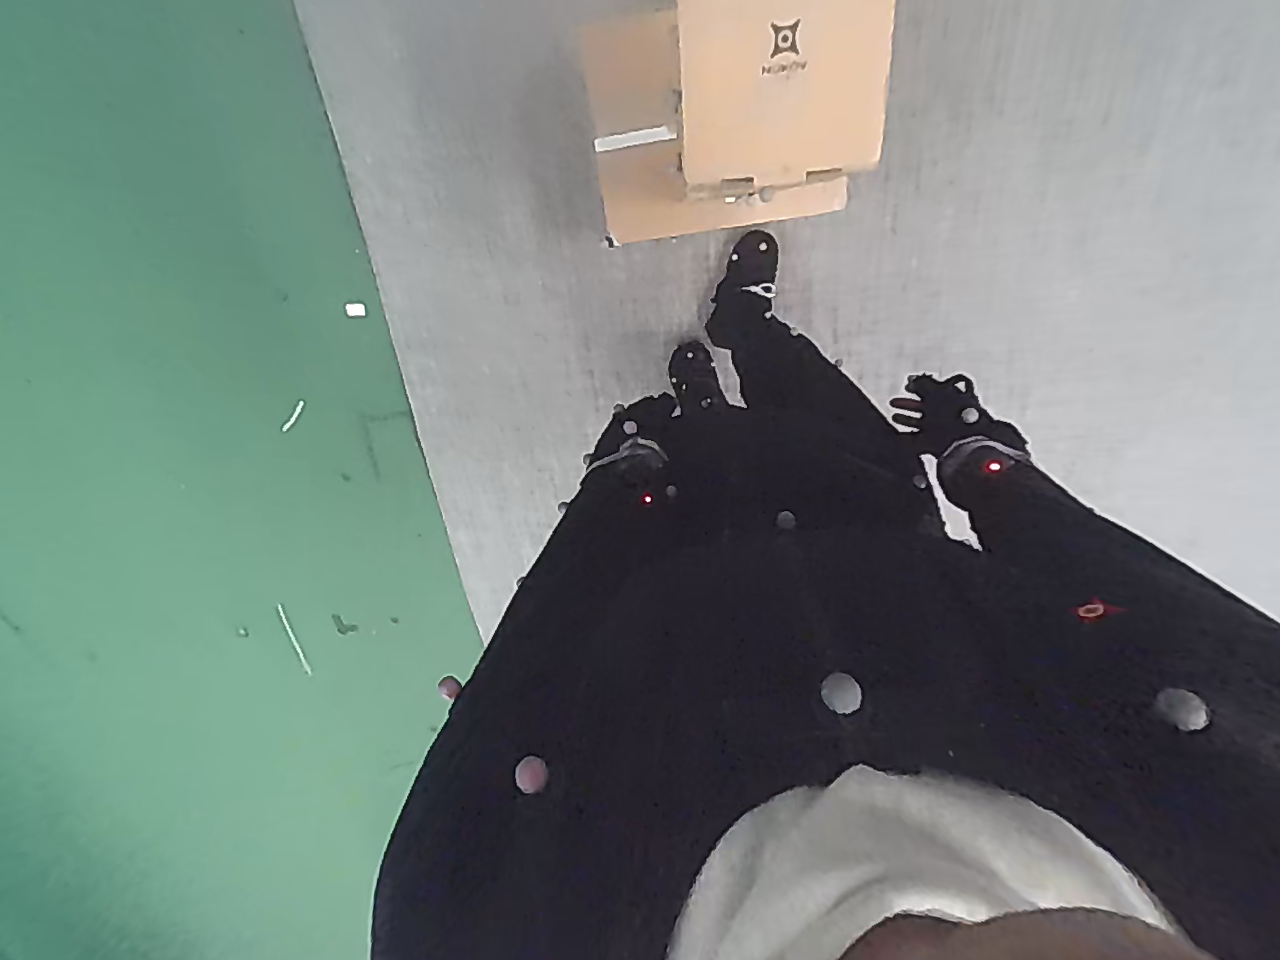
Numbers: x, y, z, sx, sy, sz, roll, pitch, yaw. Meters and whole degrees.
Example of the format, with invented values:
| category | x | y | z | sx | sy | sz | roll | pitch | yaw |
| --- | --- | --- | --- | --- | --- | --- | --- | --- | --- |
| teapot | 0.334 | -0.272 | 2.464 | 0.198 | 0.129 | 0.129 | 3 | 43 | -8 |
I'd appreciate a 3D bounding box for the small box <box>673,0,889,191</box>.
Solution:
| category | x | y | z | sx | sy | sz | roll | pitch | yaw |
| --- | --- | --- | --- | --- | --- | --- | --- | --- | --- |
| small box | 0.119 | -0.374 | 0.504 | 0.168 | 0.176 | 0.179 | -1 | 117 | 7 |
